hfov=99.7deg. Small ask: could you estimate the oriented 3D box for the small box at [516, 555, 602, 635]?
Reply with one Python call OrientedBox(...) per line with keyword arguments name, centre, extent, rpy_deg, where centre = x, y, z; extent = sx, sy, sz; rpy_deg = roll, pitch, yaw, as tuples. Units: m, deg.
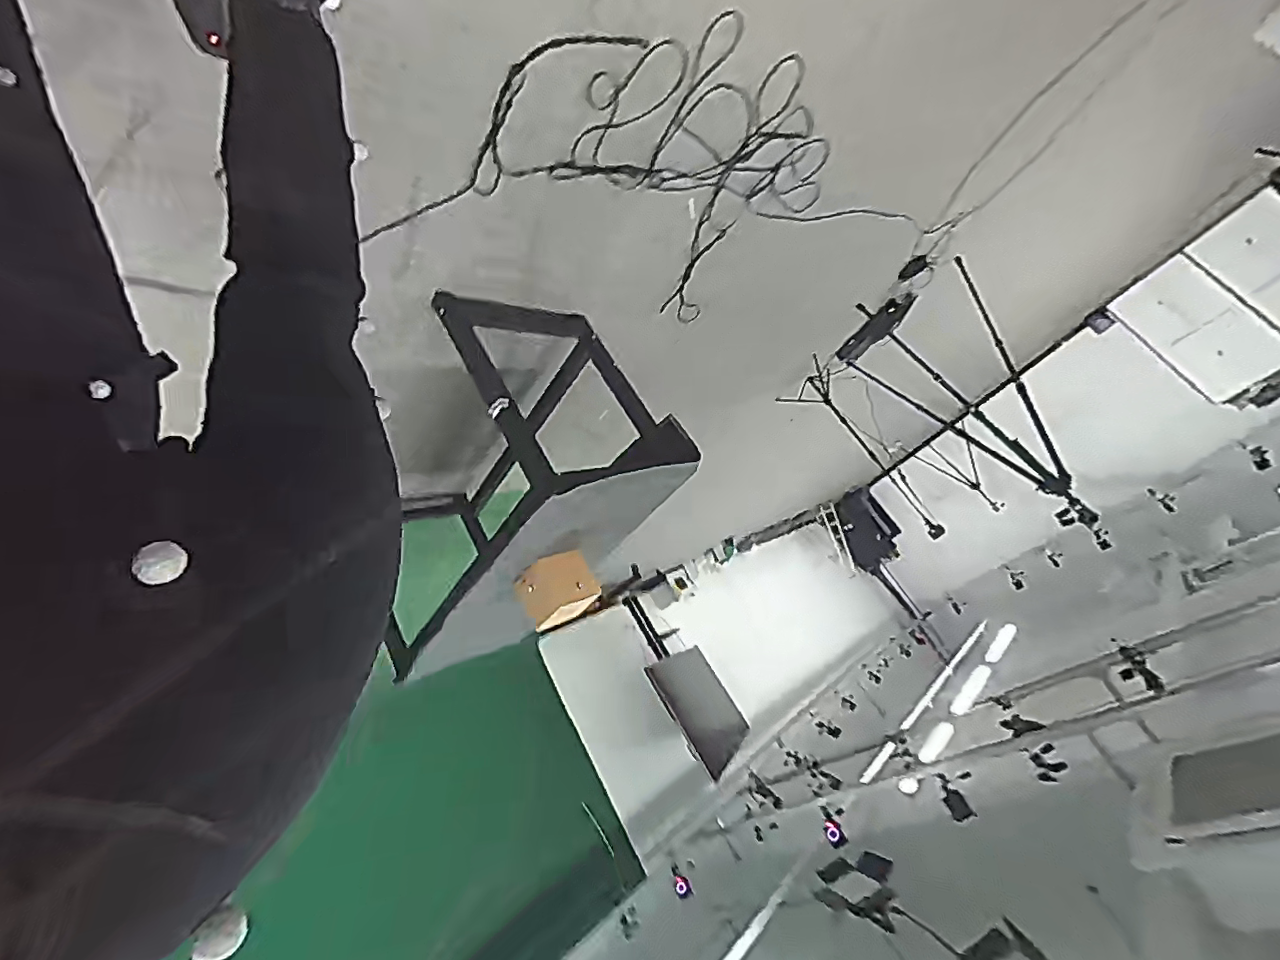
OrientedBox(name="small box", centre=(-0.258, 0.355, 1.709), extent=(0.179, 0.176, 0.168), rpy_deg=(-9, 149, -48))
